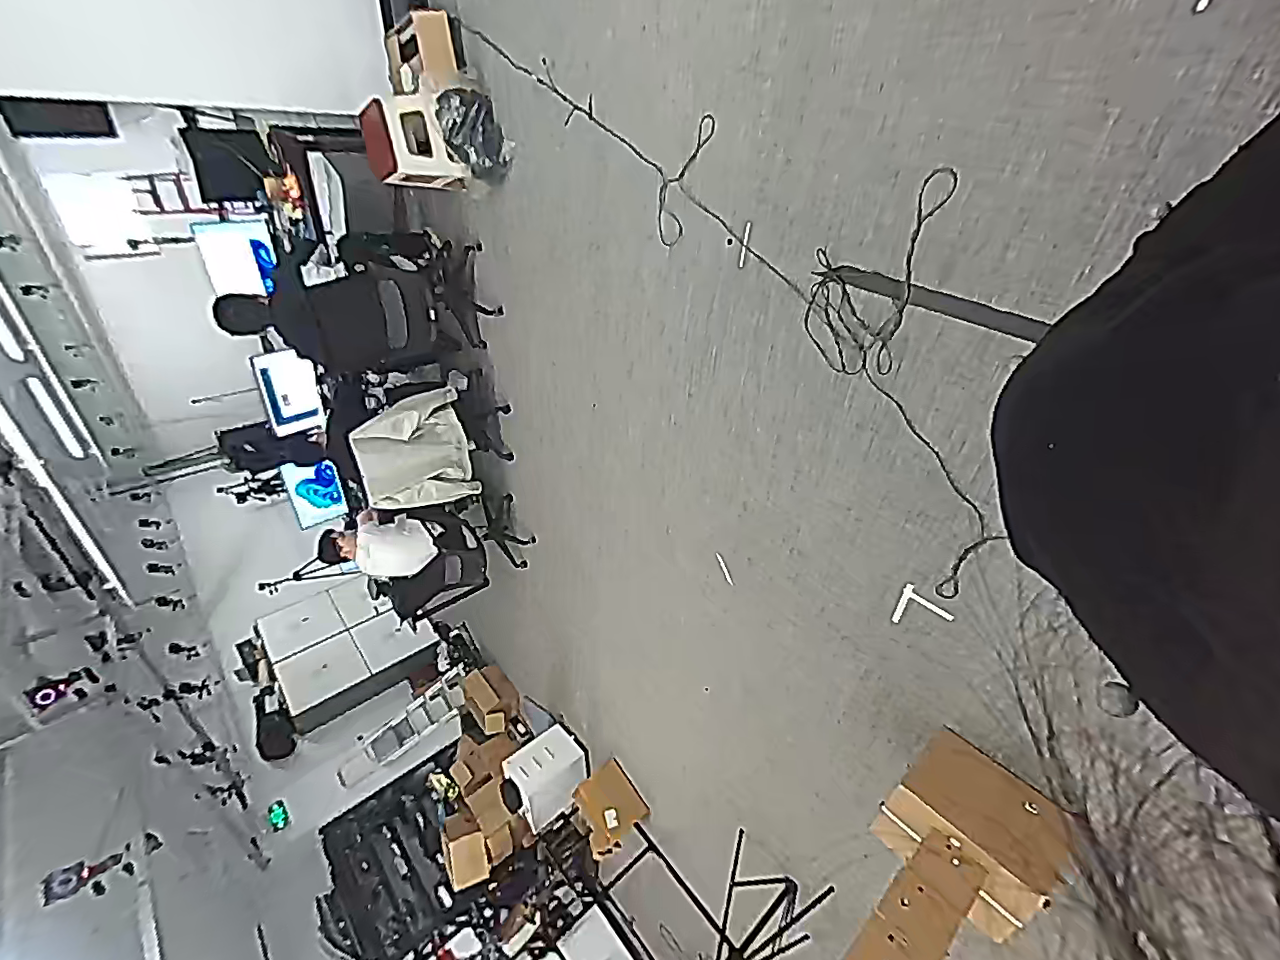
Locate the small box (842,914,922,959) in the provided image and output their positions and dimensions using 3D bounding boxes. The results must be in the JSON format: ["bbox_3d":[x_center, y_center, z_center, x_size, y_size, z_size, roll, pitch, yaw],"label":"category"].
[{"bbox_3d":[0.605,1.253,1.356,0.168,0.176,0.179,29,130,42],"label":"small box"}]

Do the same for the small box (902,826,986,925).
[{"bbox_3d":[0.850,1.147,1.545,0.168,0.176,0.179,33,133,37],"label":"small box"}]

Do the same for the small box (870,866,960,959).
[{"bbox_3d":[0.726,1.194,1.451,0.168,0.176,0.179,33,134,39],"label":"small box"}]
